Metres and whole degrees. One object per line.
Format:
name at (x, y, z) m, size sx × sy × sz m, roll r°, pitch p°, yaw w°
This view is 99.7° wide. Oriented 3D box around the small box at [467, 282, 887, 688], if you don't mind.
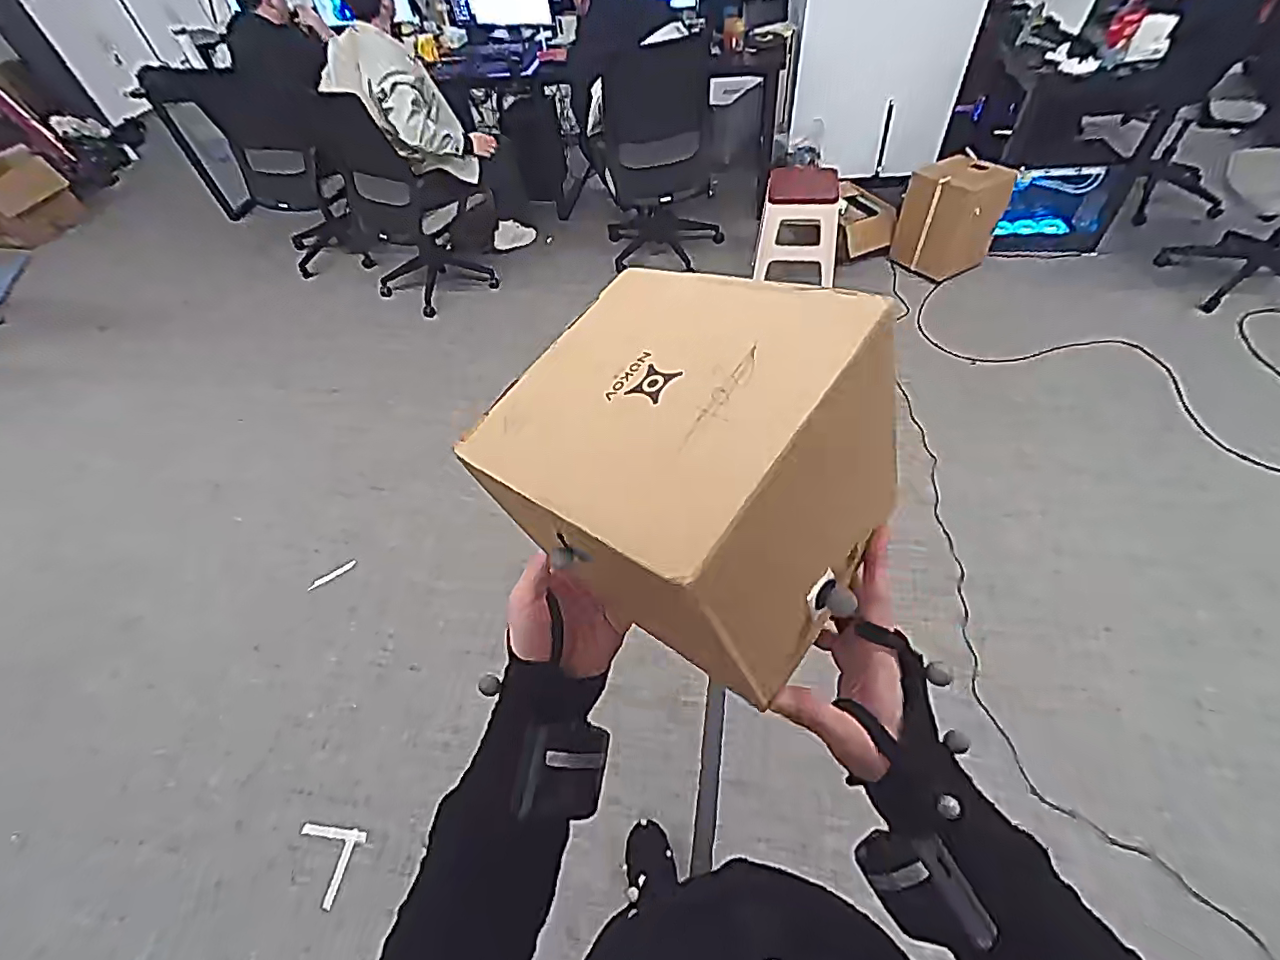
small box at (0.036, 0.002, 0.342) m, size 0.179 × 0.176 × 0.168 m, roll 23°, pitch 66°, yaw 37°
